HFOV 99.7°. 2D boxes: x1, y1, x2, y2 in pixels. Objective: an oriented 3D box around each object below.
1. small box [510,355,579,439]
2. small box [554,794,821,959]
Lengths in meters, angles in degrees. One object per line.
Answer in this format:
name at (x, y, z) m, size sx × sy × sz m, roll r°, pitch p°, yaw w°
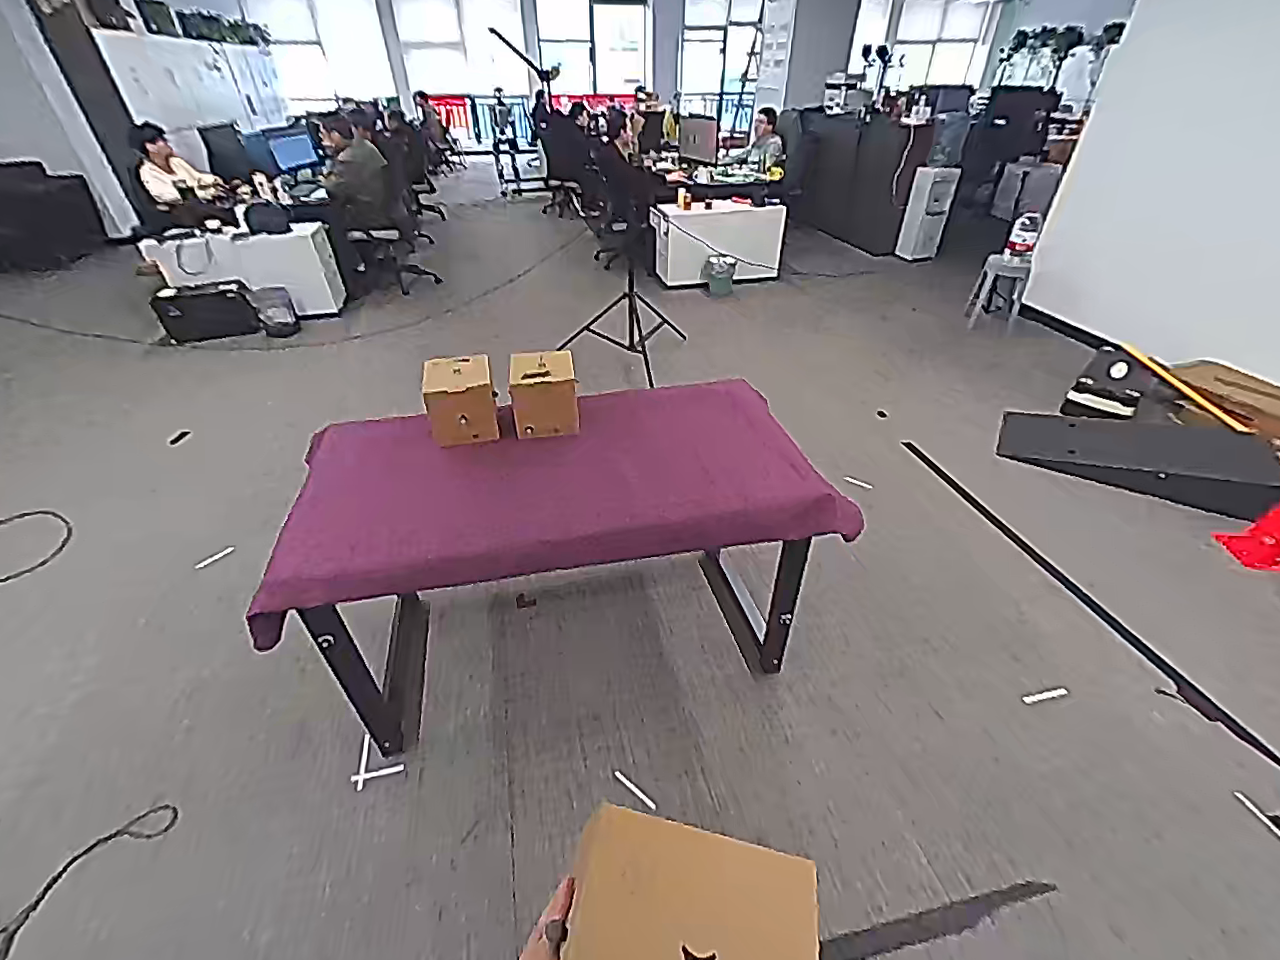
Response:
small box at (-0.257, -0.222, 1.472) m, size 0.168 × 0.176 × 0.179 m, roll -6°, pitch 38°, yaw -7°
small box at (0.022, 0.368, 0.402) m, size 0.168 × 0.176 × 0.179 m, roll 15°, pitch 47°, yaw 0°
